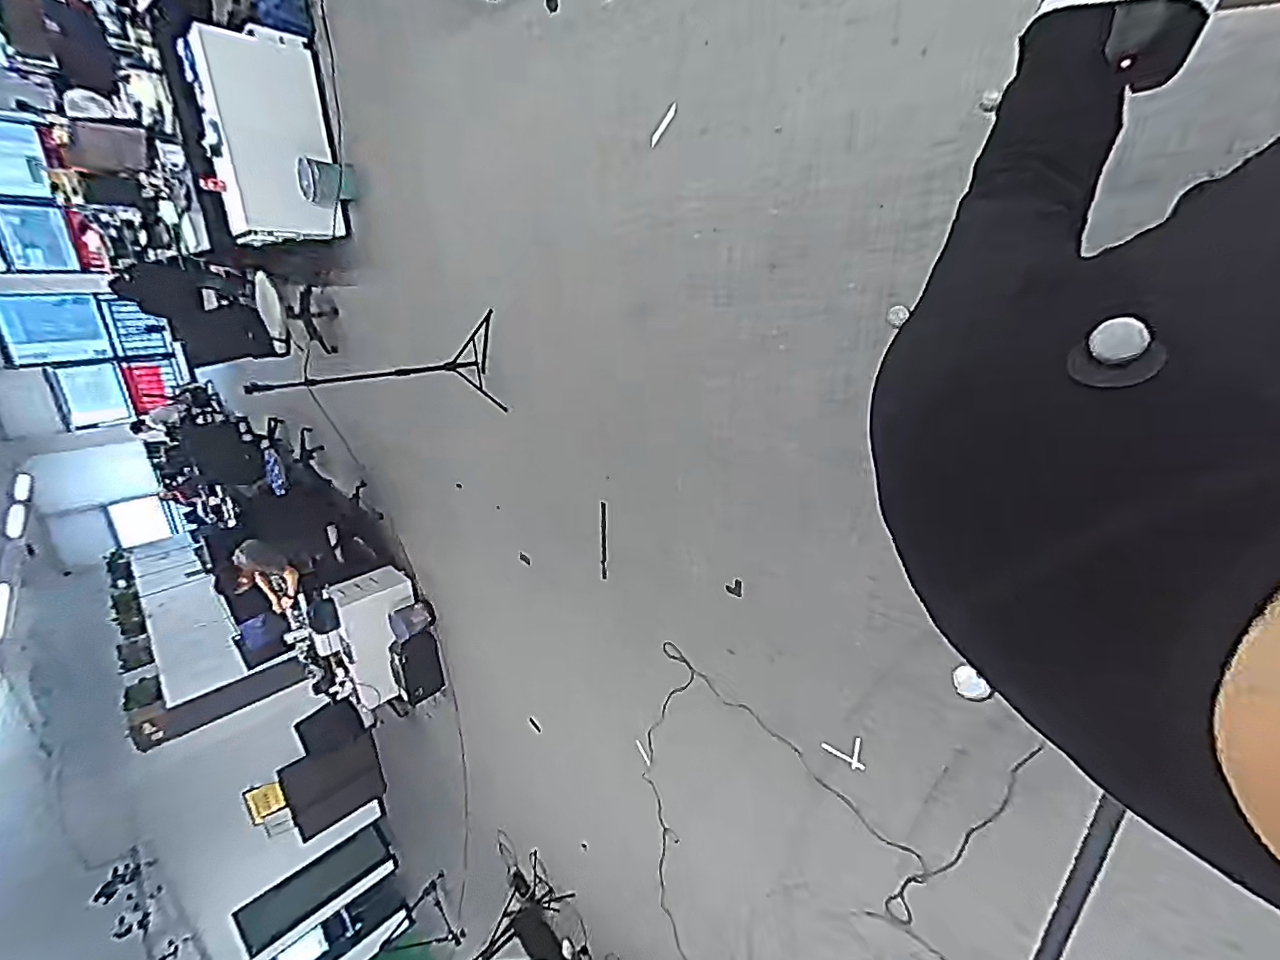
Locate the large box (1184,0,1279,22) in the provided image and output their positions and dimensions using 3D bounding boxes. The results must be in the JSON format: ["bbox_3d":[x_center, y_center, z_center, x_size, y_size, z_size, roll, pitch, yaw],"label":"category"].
[{"bbox_3d":[0.571,-0.453,0.241,0.408,0.320,0.320,22,132,37],"label":"large box"}]
